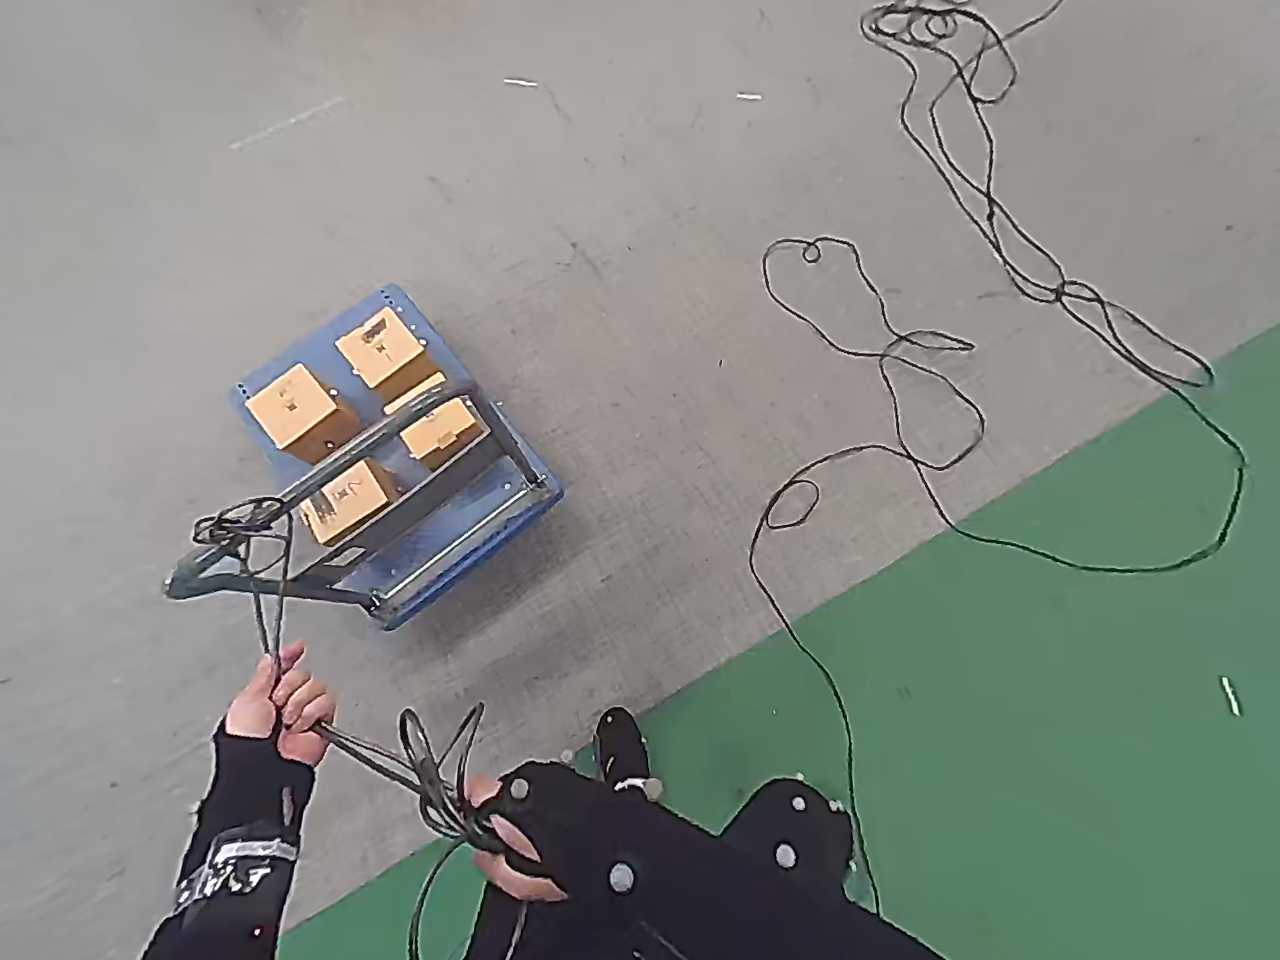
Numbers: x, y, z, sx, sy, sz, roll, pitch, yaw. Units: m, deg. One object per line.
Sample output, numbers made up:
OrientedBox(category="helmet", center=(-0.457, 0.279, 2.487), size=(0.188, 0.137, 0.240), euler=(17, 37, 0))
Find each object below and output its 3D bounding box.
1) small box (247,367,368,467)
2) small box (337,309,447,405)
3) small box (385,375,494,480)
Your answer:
OrientedBox(category="small box", center=(-0.854, -0.153, 1.408), size=(0.168, 0.176, 0.179), euler=(-42, 75, -10))
OrientedBox(category="small box", center=(-0.655, -0.311, 1.446), size=(0.168, 0.176, 0.179), euler=(-40, 76, -8))
OrientedBox(category="small box", center=(-0.505, -0.128, 1.383), size=(0.168, 0.176, 0.179), euler=(-37, 75, -8))
